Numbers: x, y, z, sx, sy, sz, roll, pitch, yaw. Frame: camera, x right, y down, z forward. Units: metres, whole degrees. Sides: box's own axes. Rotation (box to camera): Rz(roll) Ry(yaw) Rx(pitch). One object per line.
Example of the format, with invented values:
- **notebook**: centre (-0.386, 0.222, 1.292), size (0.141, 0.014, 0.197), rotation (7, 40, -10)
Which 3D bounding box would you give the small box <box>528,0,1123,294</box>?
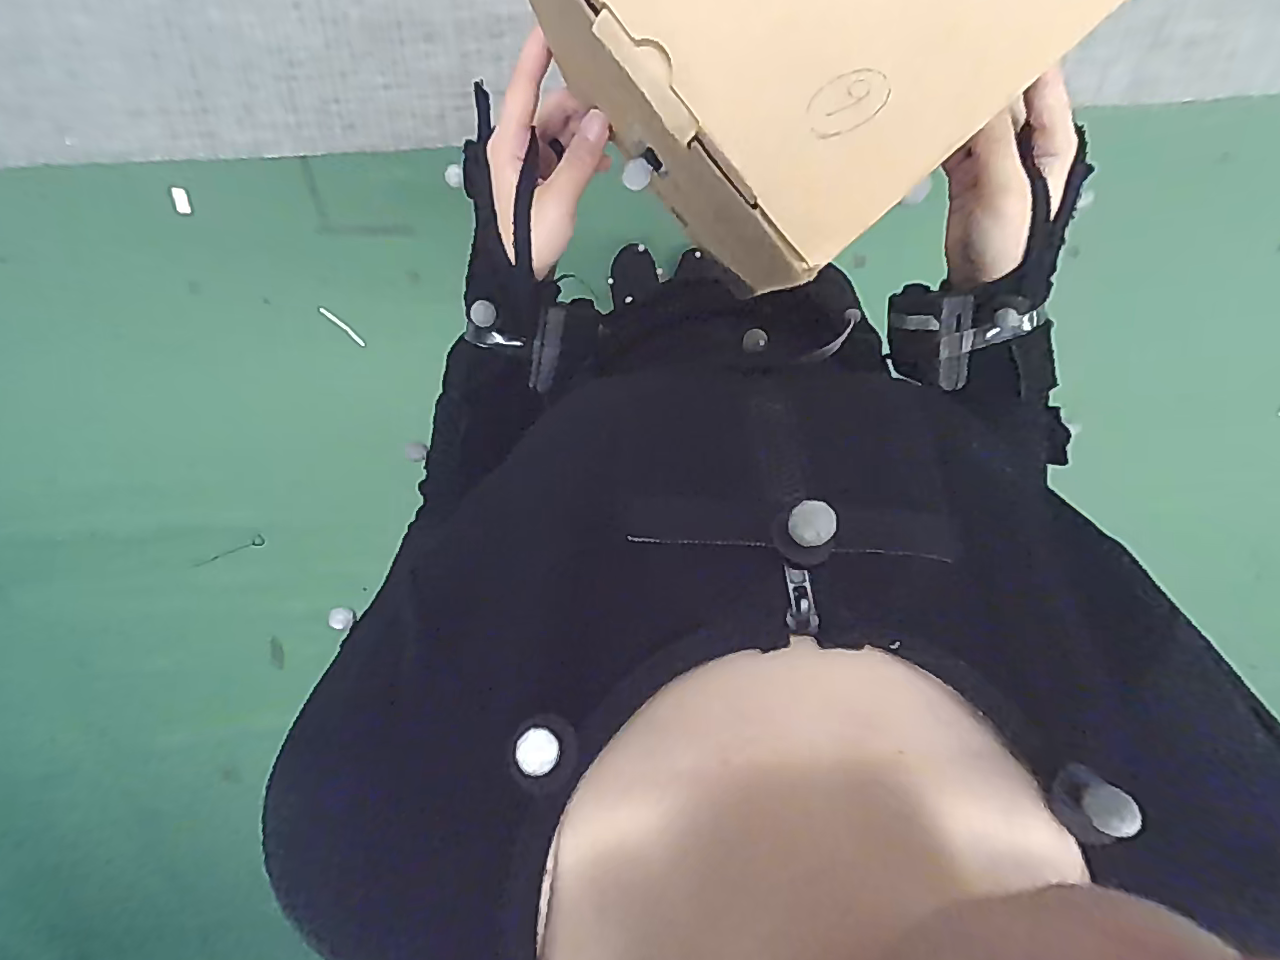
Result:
- **small box**: centre (0.067, -0.199, 0.230), size (0.179, 0.176, 0.168), rotation (-40, 100, 14)
